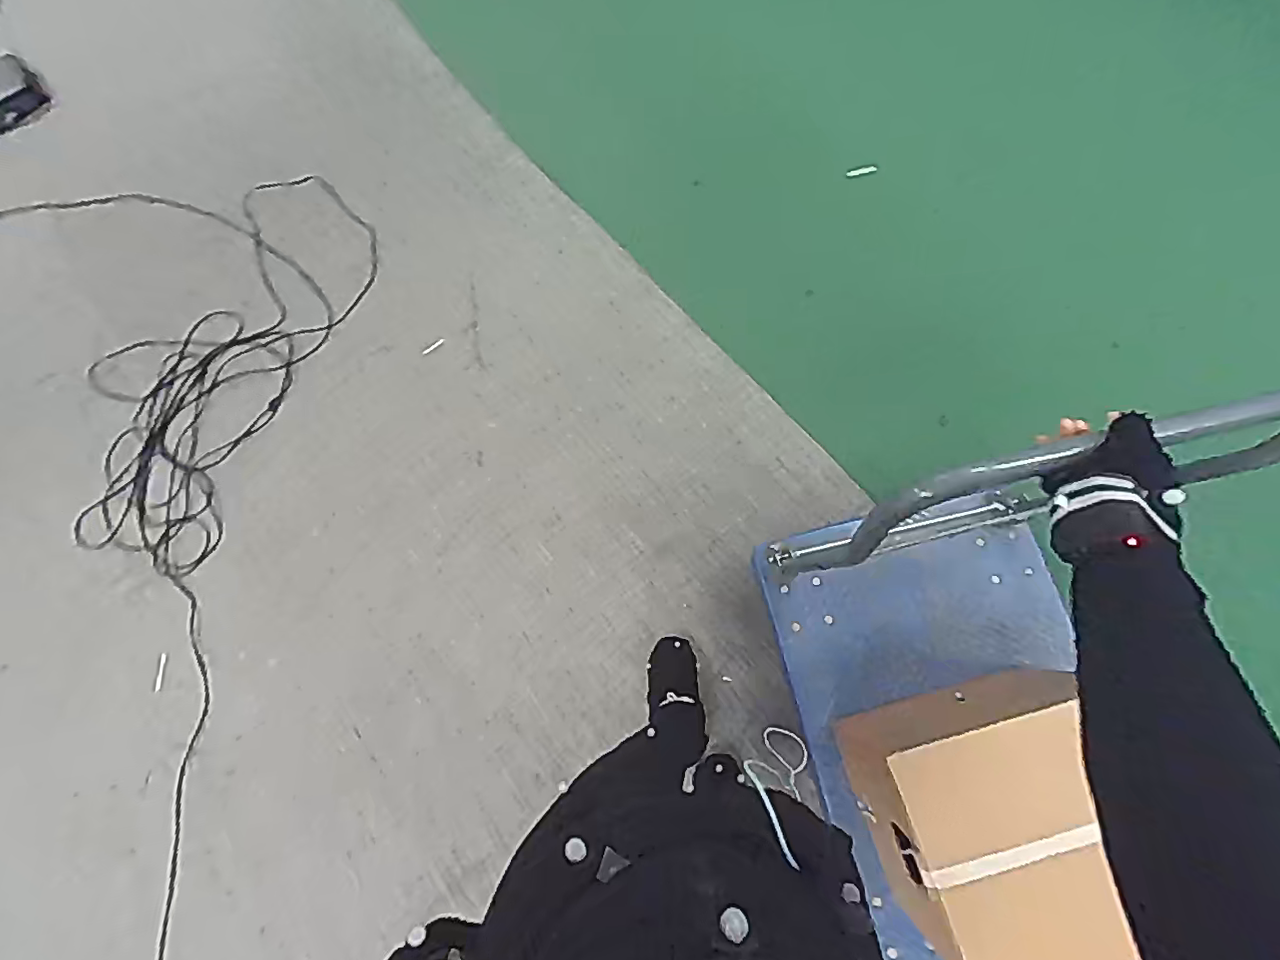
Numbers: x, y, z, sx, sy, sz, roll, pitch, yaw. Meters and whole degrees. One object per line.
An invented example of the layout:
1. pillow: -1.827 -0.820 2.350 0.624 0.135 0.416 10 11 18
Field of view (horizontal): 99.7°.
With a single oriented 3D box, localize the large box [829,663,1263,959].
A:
1. large box: 0.590 0.516 0.883 0.408 0.320 0.320 -17 75 -1
